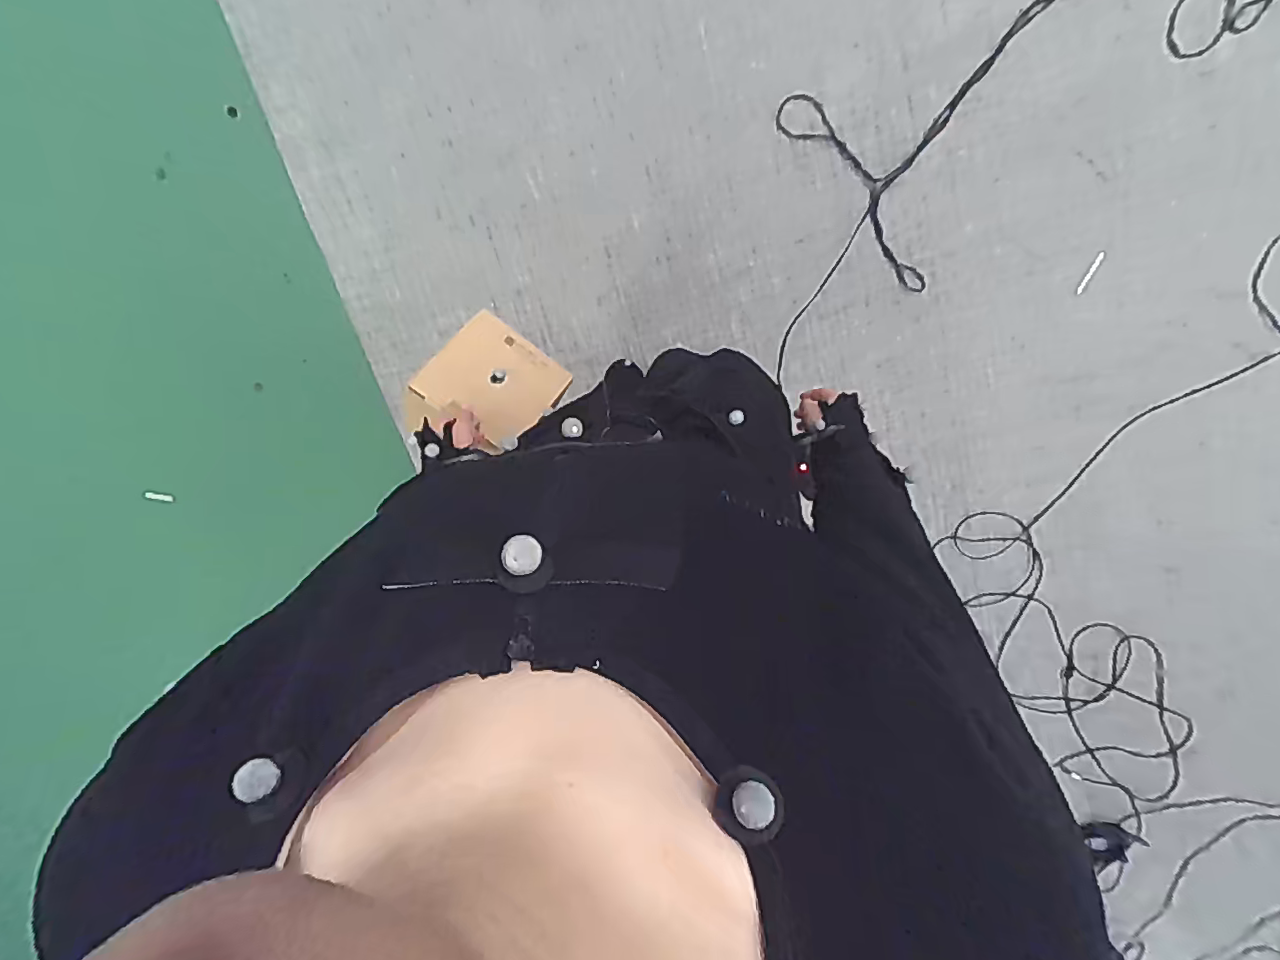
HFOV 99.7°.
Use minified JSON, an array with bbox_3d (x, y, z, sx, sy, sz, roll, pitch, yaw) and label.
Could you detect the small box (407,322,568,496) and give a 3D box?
[{"bbox_3d":[-0.234,-0.107,0.835,0.168,0.179,0.176,37,61,-9],"label":"small box"}]
